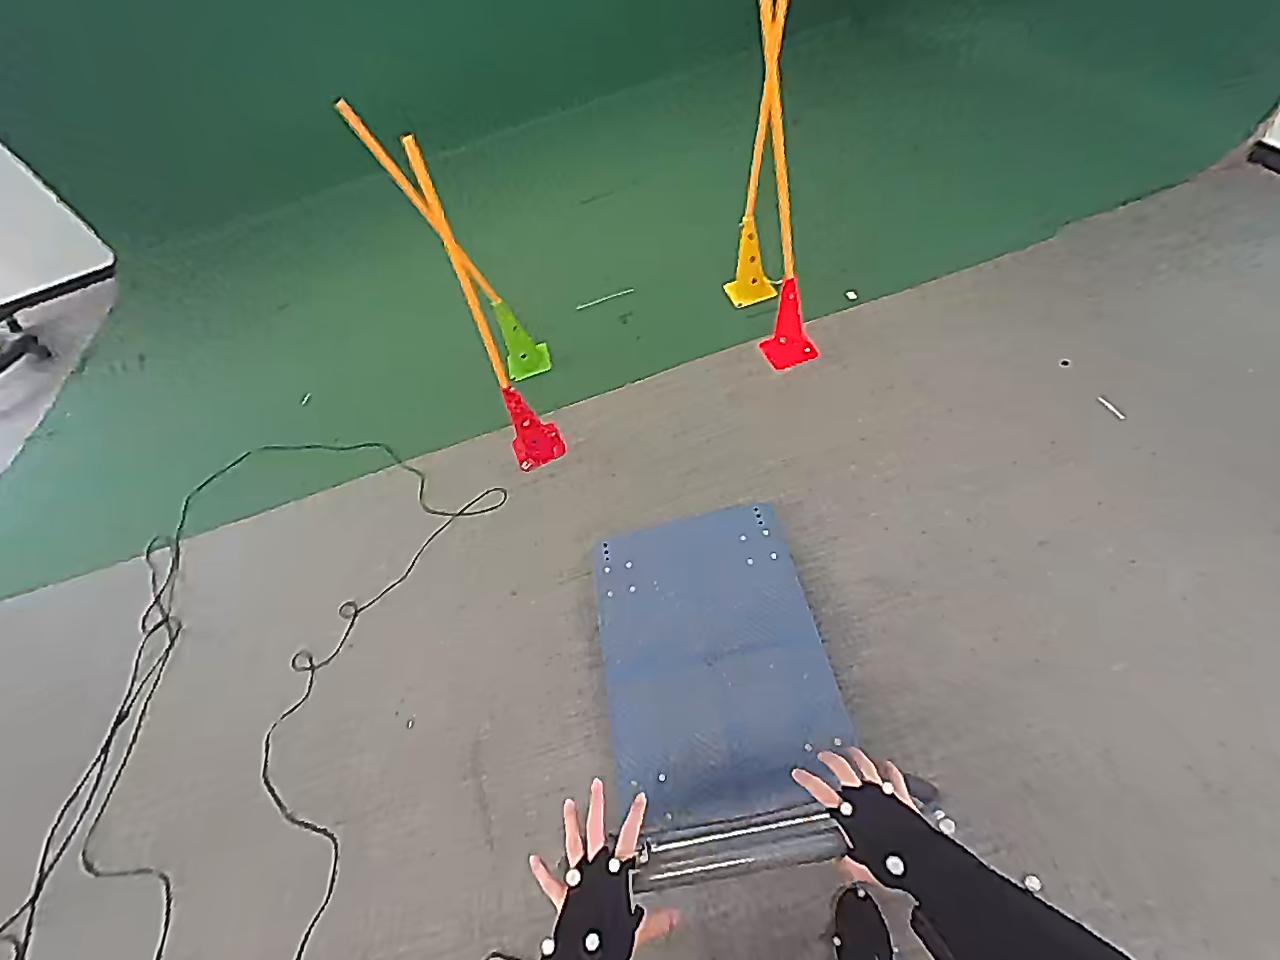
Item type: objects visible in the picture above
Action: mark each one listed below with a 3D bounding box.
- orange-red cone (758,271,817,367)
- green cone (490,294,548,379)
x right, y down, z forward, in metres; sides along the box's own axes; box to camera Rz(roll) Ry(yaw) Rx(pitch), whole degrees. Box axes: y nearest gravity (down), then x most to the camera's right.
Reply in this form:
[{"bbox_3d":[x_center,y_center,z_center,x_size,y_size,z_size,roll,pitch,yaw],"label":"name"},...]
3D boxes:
[{"bbox_3d":[0.579,-0.654,2.123,0.198,0.360,0.199,-18,51,0],"label":"orange-red cone"},{"bbox_3d":[-0.573,-0.666,2.419,0.200,0.368,0.202,-20,51,1],"label":"green cone"}]
